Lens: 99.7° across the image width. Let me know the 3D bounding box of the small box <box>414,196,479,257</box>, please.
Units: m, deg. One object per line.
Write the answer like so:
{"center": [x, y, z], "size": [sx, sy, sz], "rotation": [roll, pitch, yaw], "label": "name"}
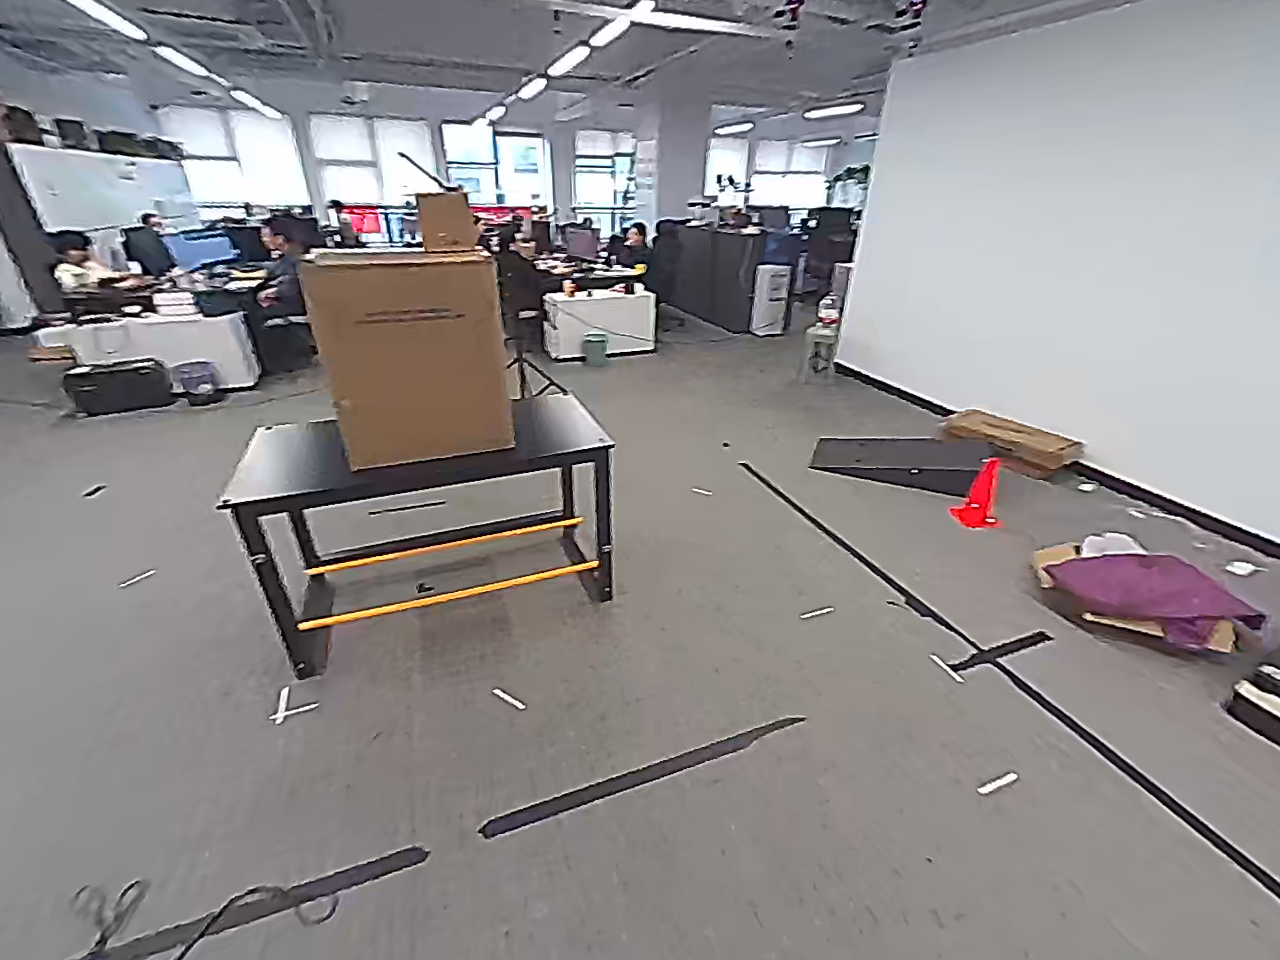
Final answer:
{"center": [-0.621, -0.815, 1.739], "size": [0.168, 0.176, 0.179], "rotation": [-12, 29, -16], "label": "small box"}
